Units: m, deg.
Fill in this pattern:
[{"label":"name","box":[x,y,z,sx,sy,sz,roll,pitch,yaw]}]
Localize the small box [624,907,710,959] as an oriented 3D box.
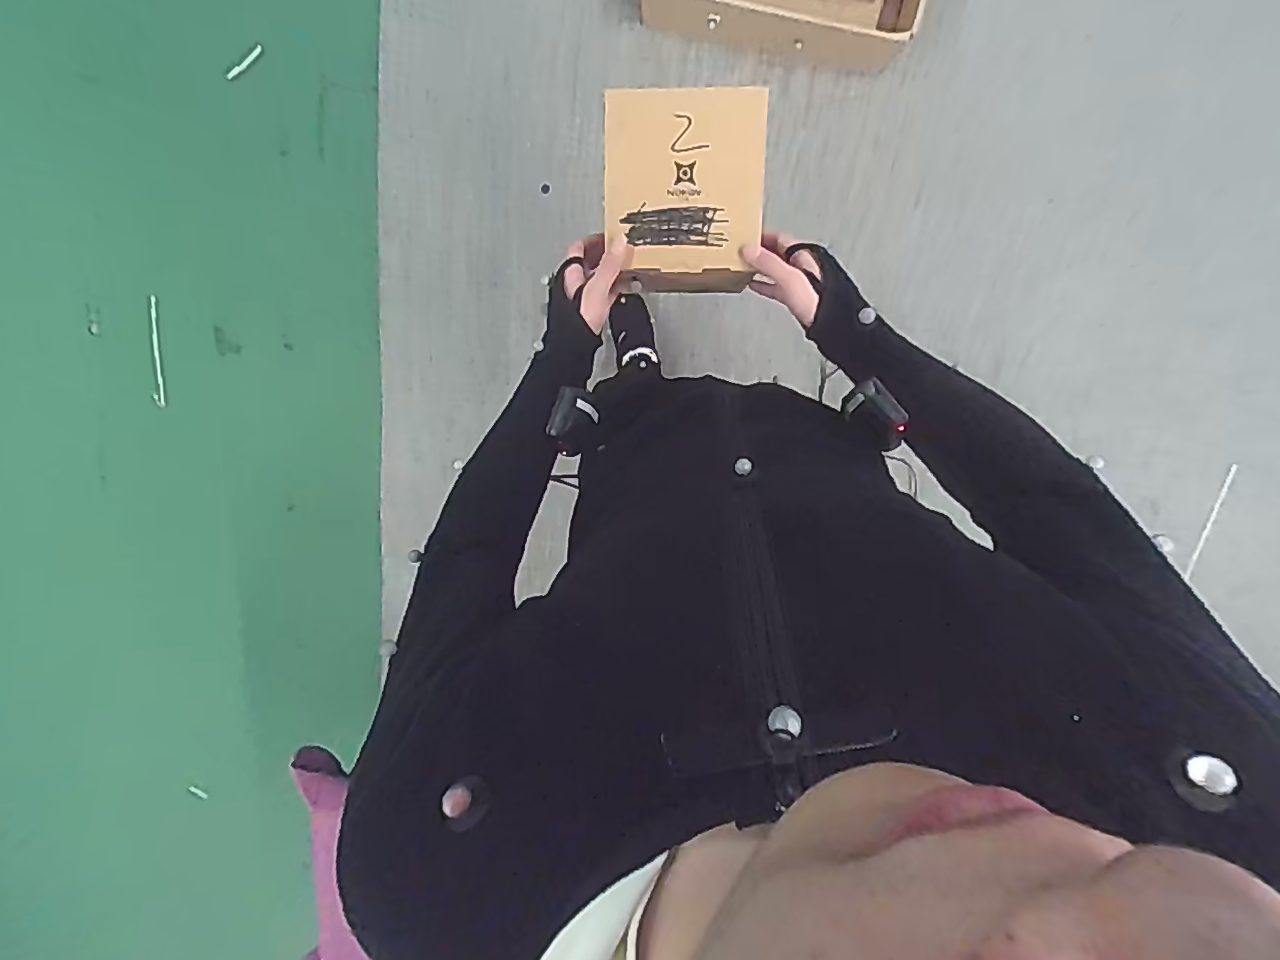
[{"label":"small box","box":[0.051,0.994,1.062,0.168,0.176,0.179,4,104,1]}]
